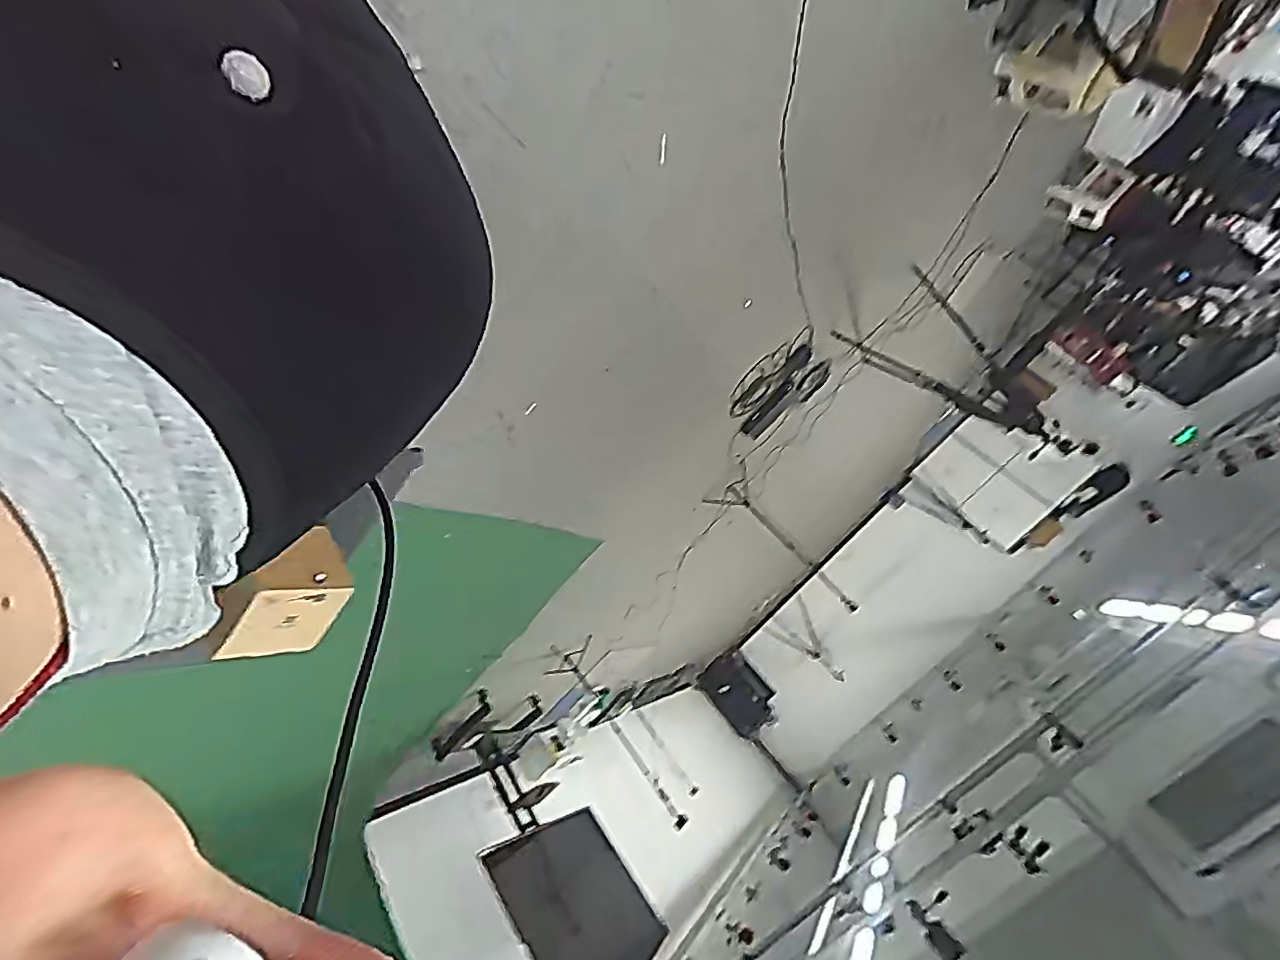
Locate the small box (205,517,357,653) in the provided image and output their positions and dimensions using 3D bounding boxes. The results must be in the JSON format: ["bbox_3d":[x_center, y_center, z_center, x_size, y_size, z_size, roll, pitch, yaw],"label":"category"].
[{"bbox_3d":[-0.673,0.192,1.008,0.179,0.176,0.168,-49,153,15],"label":"small box"}]

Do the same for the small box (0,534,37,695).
[{"bbox_3d":[-0.911,0.182,0.676,0.179,0.176,0.168,-51,154,14],"label":"small box"}]
